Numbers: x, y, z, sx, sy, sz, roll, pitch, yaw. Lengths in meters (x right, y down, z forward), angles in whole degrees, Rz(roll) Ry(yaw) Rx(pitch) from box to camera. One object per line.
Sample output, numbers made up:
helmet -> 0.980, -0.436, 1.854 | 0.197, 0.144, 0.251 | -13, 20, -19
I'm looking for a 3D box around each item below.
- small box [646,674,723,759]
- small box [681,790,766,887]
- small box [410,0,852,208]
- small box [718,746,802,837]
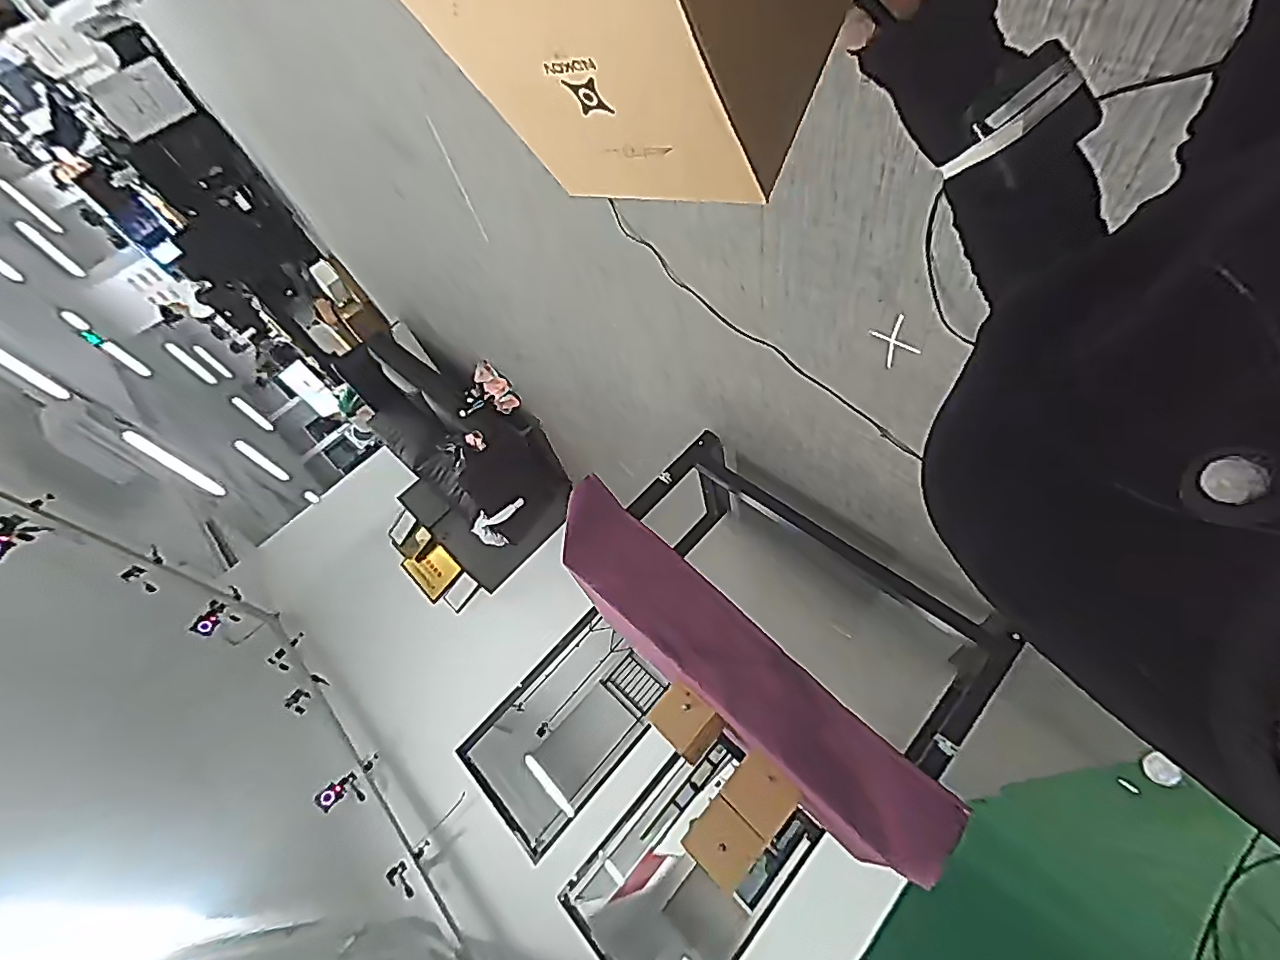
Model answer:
small box -> 0.153, 0.775, 1.774 | 0.168, 0.176, 0.179 | 32, 159, 37
small box -> 0.245, 1.032, 1.569 | 0.179, 0.176, 0.168 | 34, 160, 32
small box -> 0.007, -0.287, 0.304 | 0.168, 0.176, 0.179 | 23, 179, 32
small box -> 0.359, 0.922, 1.614 | 0.179, 0.176, 0.168 | 36, 161, 33
